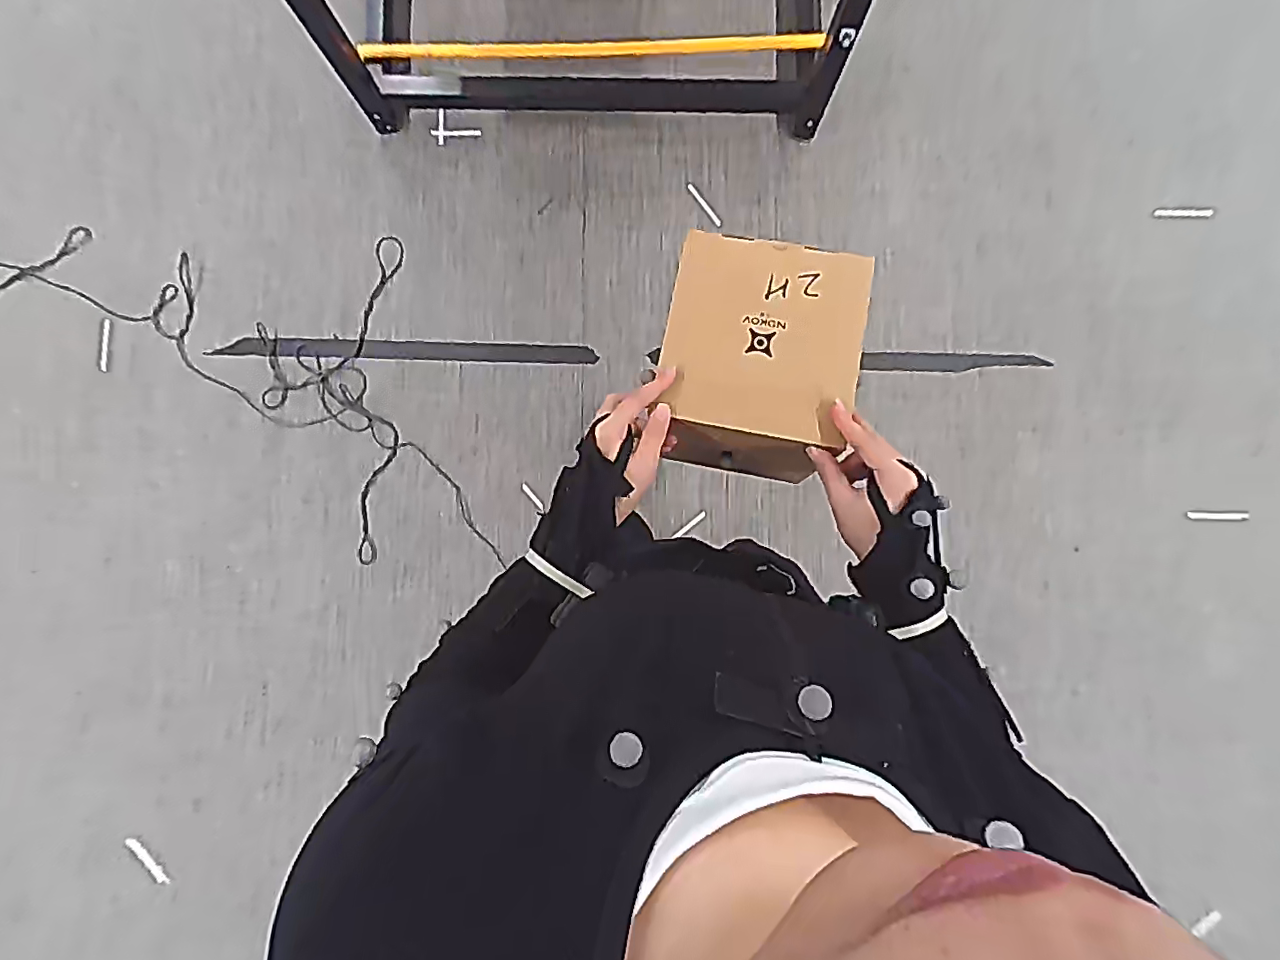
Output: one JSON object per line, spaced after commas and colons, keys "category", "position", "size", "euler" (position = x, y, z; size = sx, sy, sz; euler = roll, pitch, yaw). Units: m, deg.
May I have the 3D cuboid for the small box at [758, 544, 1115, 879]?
{"category": "small box", "position": [0.214, 0.165, 0.425], "size": [0.176, 0.168, 0.179], "euler": [-3, 109, -32]}
